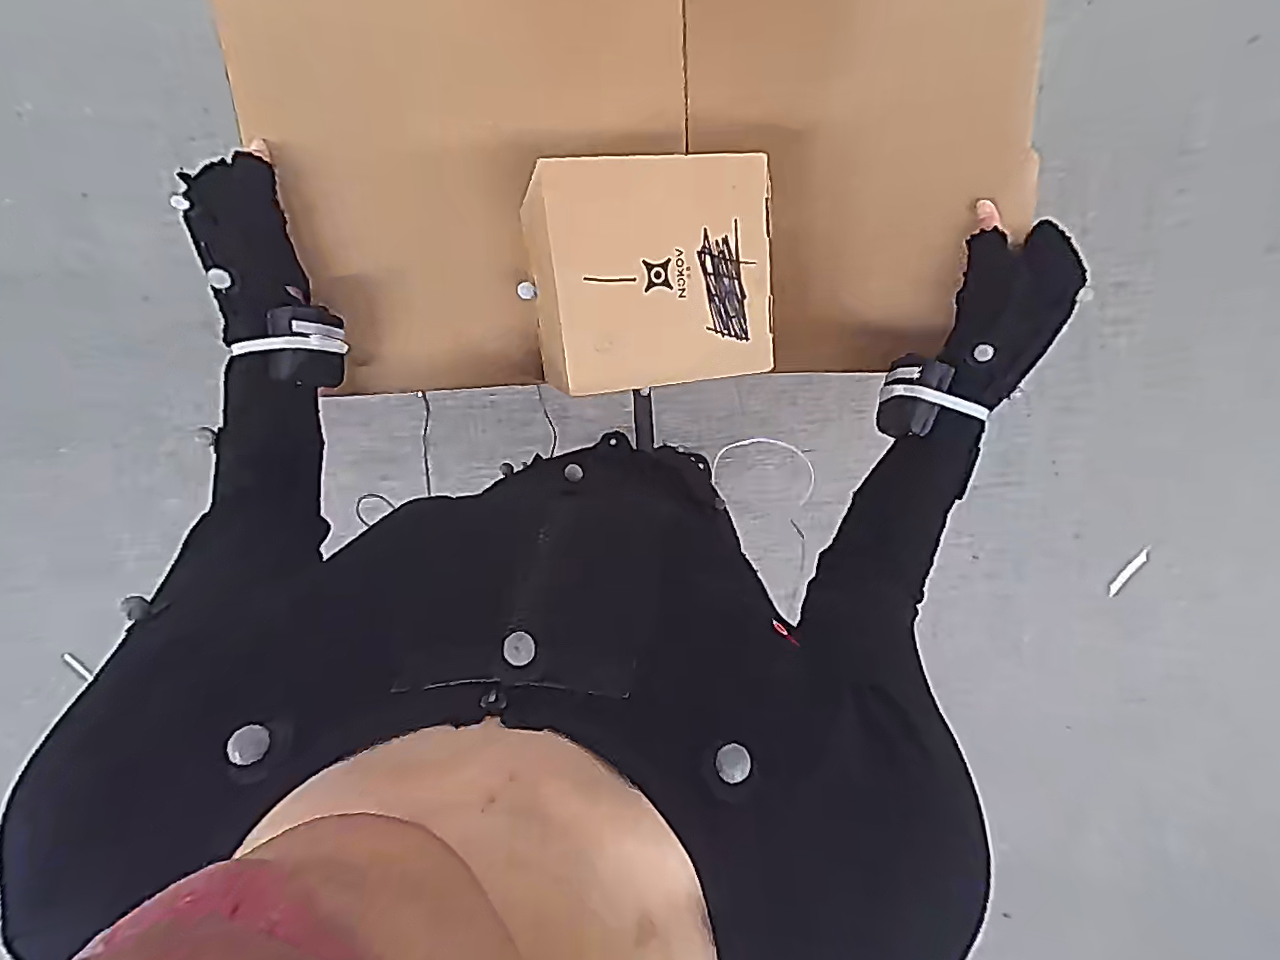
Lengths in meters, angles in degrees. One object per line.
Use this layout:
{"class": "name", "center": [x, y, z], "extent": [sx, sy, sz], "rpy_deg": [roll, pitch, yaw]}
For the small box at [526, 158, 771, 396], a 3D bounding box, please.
{"class": "small box", "center": [0.000, -0.176, 0.490], "extent": [0.179, 0.176, 0.168], "rpy_deg": [-10, 107, -13]}
